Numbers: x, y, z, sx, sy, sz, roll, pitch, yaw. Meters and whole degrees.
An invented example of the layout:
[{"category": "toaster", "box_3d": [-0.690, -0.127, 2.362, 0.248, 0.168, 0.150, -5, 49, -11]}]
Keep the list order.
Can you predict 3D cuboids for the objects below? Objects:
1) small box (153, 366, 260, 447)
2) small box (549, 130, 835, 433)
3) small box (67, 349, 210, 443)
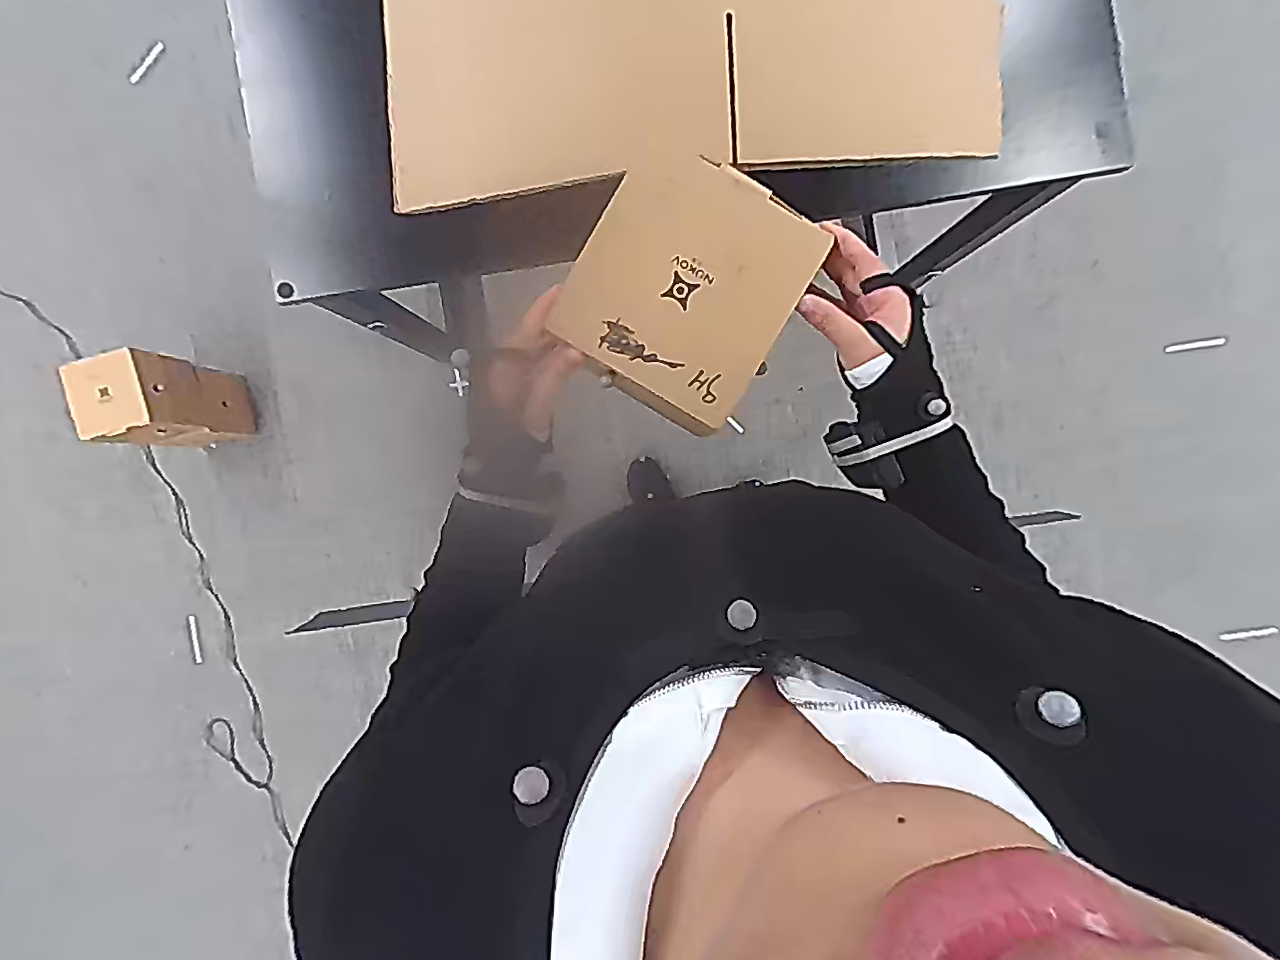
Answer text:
[{"category": "small box", "box_3d": [-1.164, -0.189, 1.441, 0.168, 0.176, 0.179, -12, 92, 2]}, {"category": "small box", "box_3d": [0.040, -0.159, 0.499, 0.168, 0.176, 0.179, 31, 93, 1]}, {"category": "small box", "box_3d": [-1.171, -0.190, 1.278, 0.168, 0.176, 0.179, -16, 90, 1]}]
